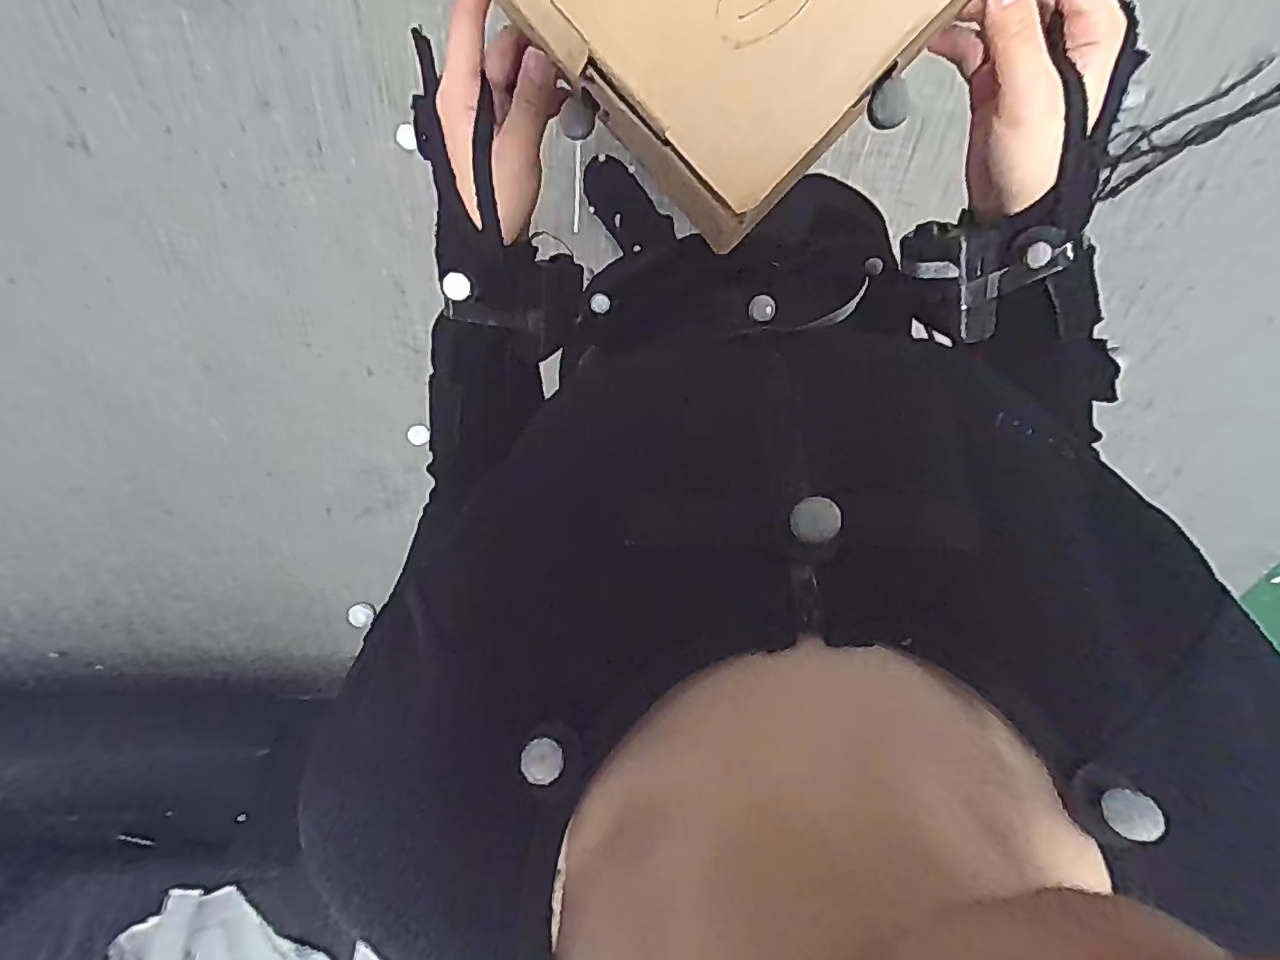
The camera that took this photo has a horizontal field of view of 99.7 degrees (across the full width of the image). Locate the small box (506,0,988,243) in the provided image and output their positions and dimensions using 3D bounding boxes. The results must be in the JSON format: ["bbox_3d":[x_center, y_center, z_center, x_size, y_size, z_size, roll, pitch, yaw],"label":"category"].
[{"bbox_3d":[0.042,-0.209,0.190,0.179,0.176,0.168,-42,99,19],"label":"small box"}]
